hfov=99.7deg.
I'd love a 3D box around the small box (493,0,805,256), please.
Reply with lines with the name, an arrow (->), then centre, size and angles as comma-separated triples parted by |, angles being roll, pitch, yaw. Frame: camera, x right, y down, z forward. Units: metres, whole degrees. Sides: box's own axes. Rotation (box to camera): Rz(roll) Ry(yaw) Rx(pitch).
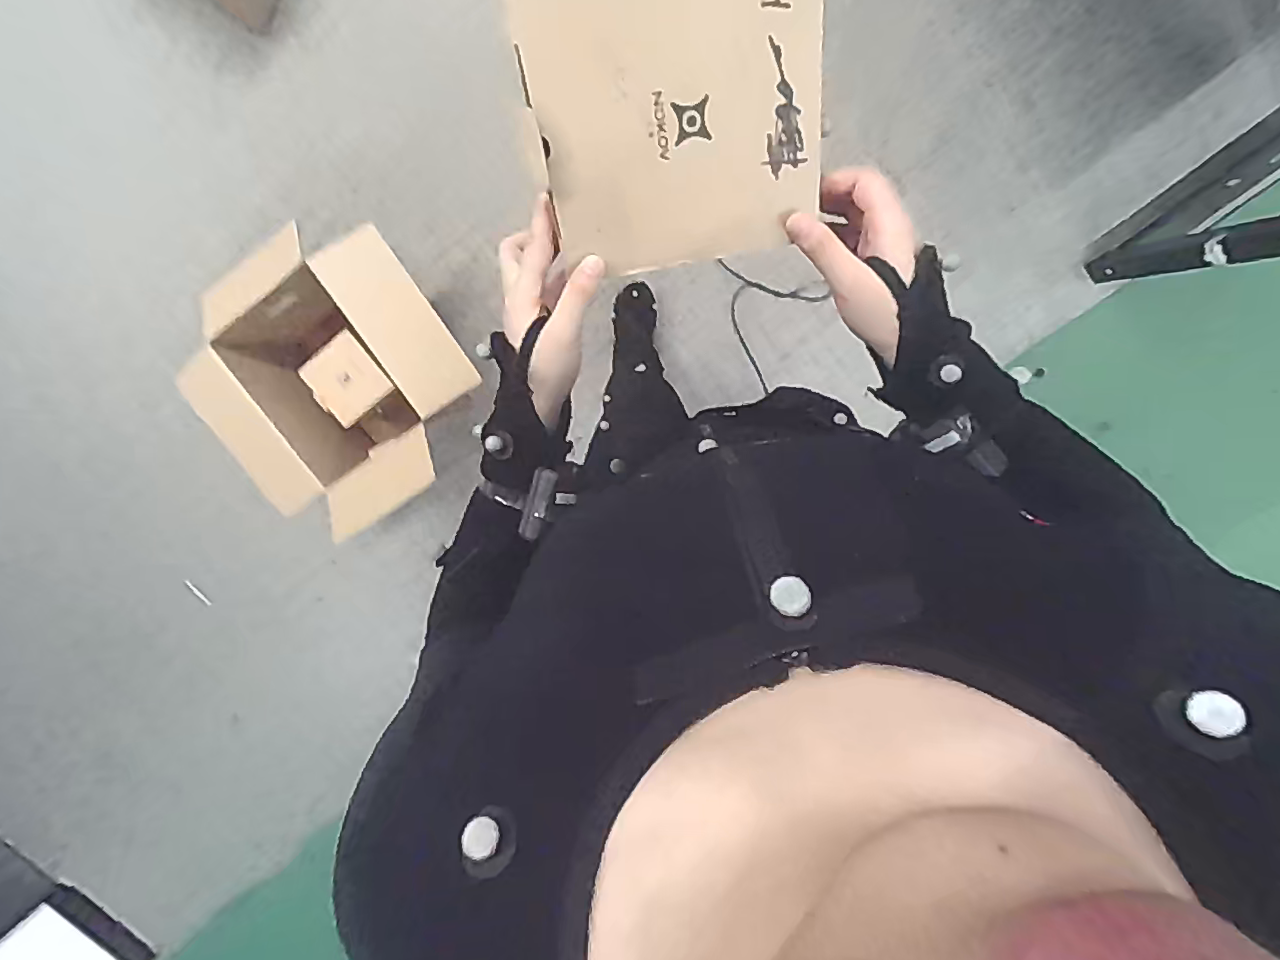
small box -> 0.013, -0.275, 0.394 | 0.179, 0.176, 0.168 | -8, 123, 5
